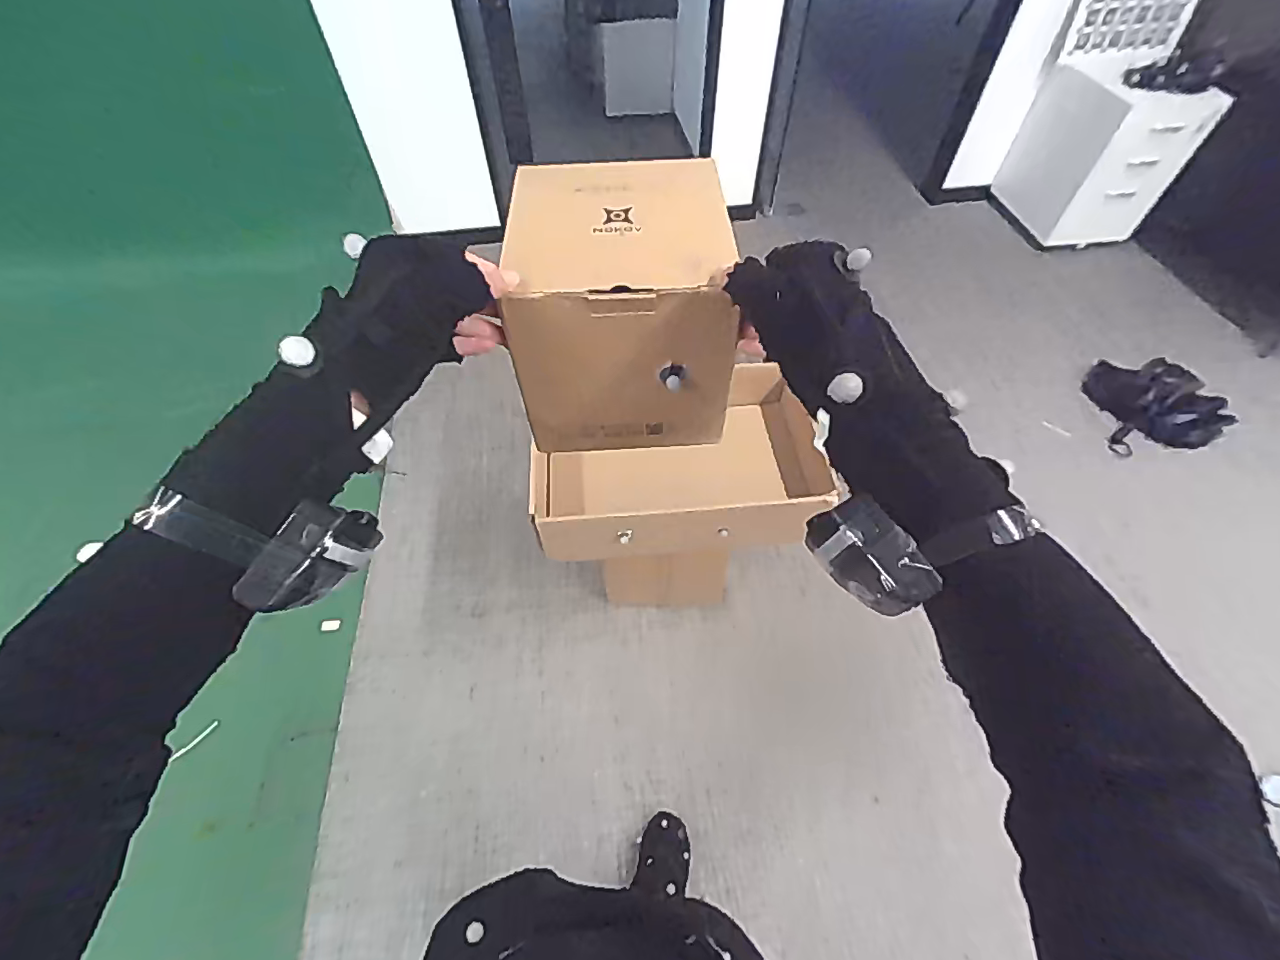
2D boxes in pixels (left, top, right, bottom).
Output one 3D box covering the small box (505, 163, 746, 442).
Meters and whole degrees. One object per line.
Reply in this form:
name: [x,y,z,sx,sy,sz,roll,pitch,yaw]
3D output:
small box: [-0.012,-0.145,0.470,0.168,0.176,0.179,-3,54,-2]
